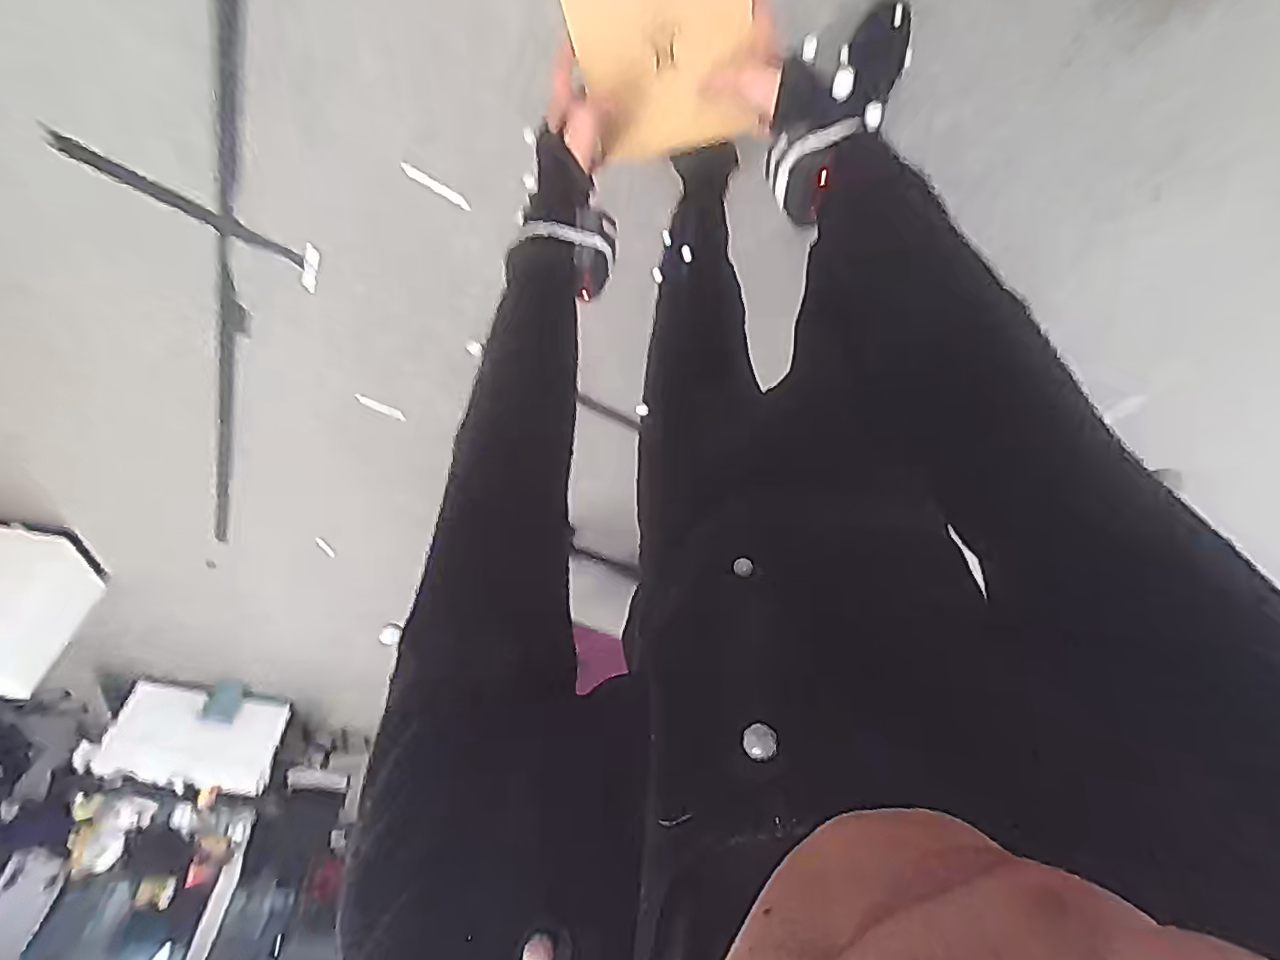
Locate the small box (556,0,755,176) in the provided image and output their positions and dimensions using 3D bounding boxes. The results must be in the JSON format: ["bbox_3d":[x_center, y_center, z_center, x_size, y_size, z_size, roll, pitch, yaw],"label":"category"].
[{"bbox_3d":[0.024,-0.451,0.546,0.168,0.176,0.179,-7,144,12],"label":"small box"}]
